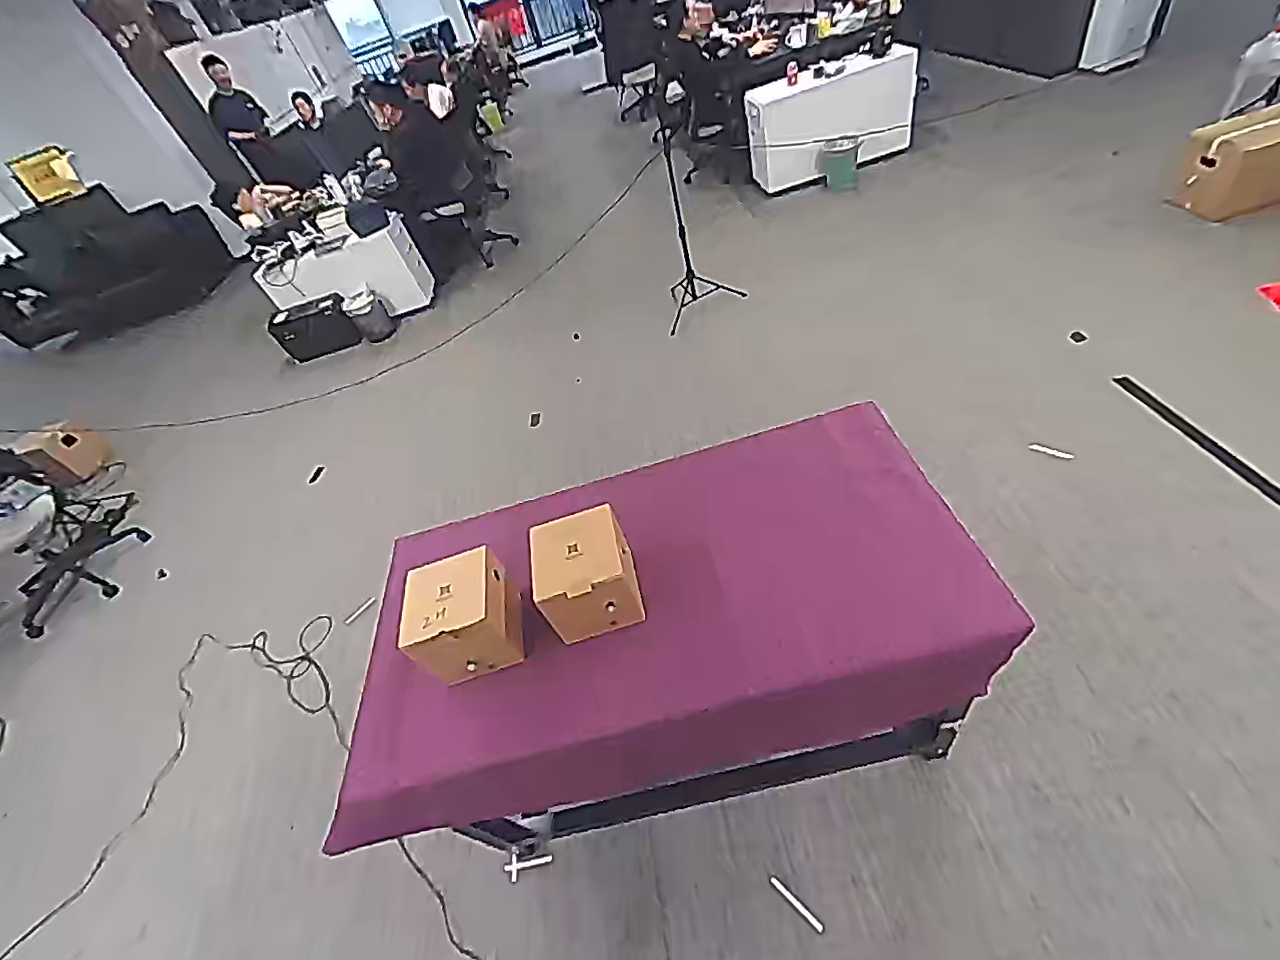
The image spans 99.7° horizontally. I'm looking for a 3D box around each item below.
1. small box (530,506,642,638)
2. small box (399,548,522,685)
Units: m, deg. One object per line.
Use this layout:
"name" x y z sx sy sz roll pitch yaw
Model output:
"small box" -0.104 0.186 1.053 0.168 0.176 0.179 -18 44 3
"small box" -0.341 0.268 1.057 0.168 0.176 0.179 -19 45 2
